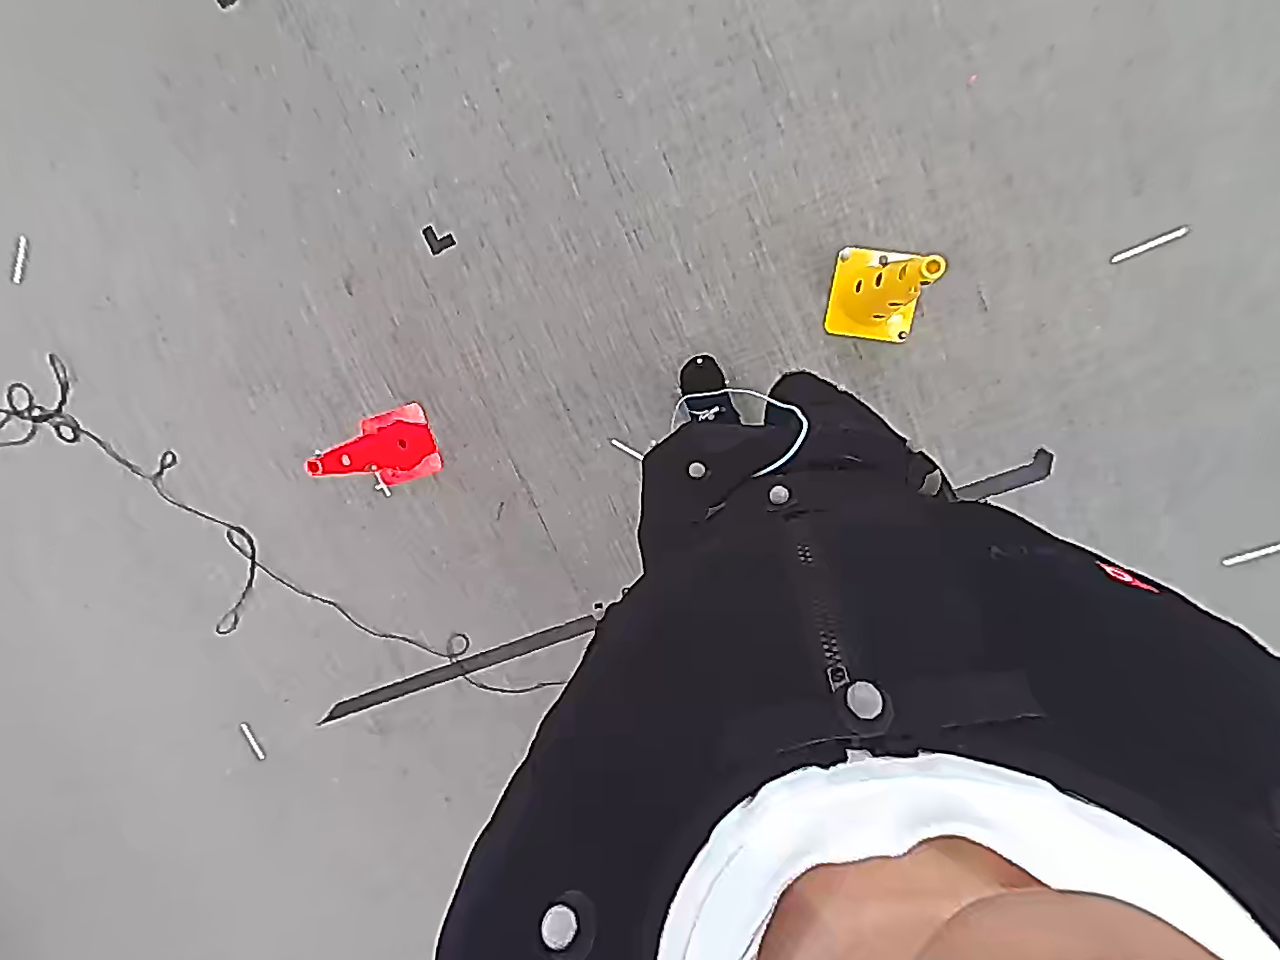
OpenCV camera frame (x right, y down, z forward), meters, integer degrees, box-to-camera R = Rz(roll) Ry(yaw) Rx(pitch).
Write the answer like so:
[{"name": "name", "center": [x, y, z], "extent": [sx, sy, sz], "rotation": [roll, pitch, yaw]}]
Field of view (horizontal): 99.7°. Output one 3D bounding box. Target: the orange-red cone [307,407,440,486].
[{"name": "orange-red cone", "center": [-0.693, -0.059, 1.352], "extent": [0.199, 0.360, 0.198], "rotation": [-15, 100, 9]}]
